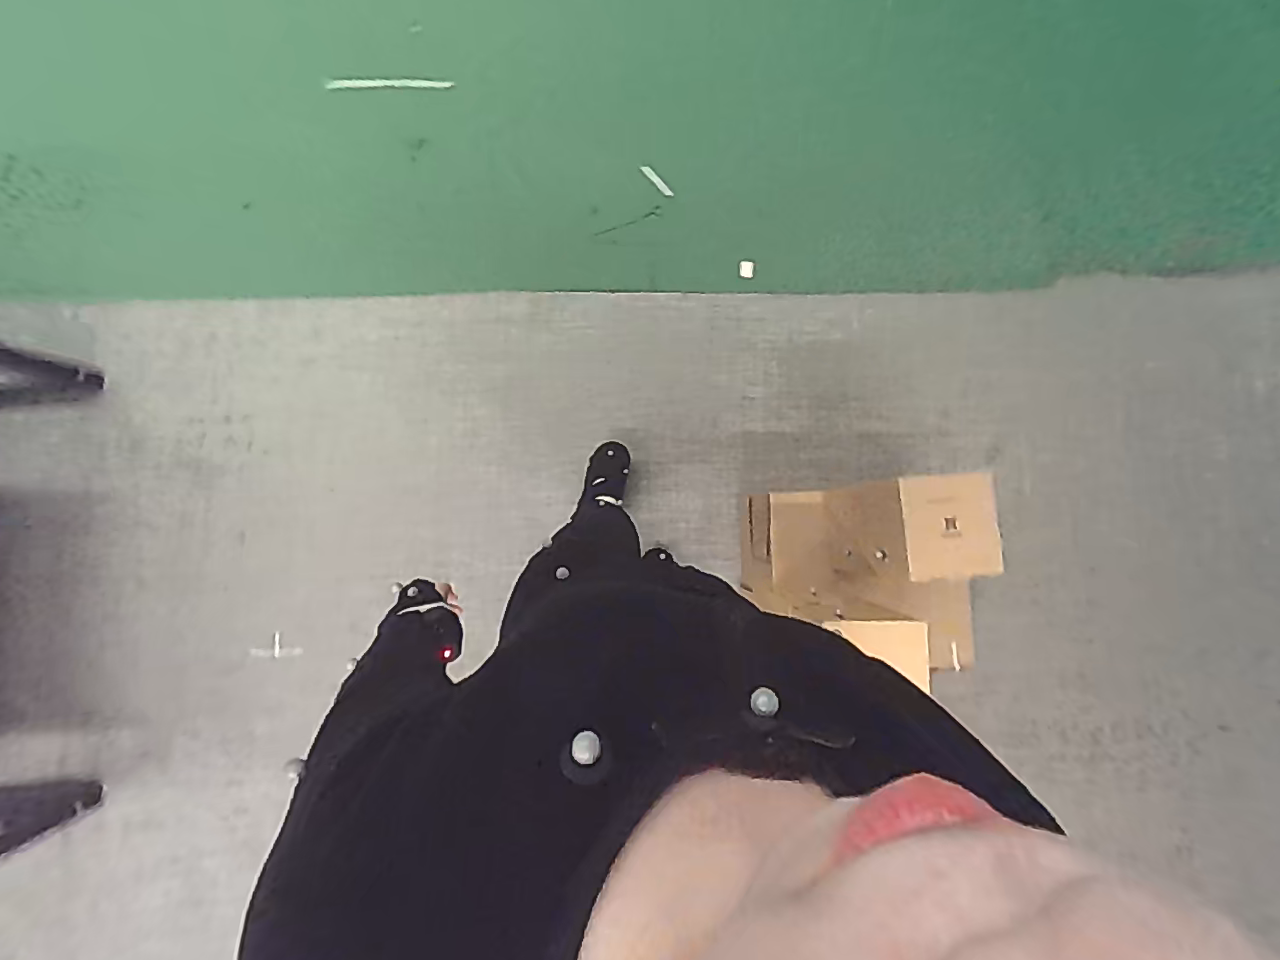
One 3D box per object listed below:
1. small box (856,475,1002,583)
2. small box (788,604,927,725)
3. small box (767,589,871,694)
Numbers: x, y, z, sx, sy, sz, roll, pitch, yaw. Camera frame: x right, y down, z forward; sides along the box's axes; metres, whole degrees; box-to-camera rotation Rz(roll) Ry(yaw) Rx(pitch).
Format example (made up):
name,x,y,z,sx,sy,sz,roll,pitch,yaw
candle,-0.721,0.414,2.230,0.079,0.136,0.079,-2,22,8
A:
name,x,y,z,sx,sy,sz,roll,pitch,yaw
small box,0.510,0.086,0.975,0.168,0.176,0.179,-2,84,-4
small box,0.373,0.314,0.949,0.179,0.176,0.168,1,86,-1
small box,0.364,0.327,1.112,0.168,0.176,0.179,1,86,-3
